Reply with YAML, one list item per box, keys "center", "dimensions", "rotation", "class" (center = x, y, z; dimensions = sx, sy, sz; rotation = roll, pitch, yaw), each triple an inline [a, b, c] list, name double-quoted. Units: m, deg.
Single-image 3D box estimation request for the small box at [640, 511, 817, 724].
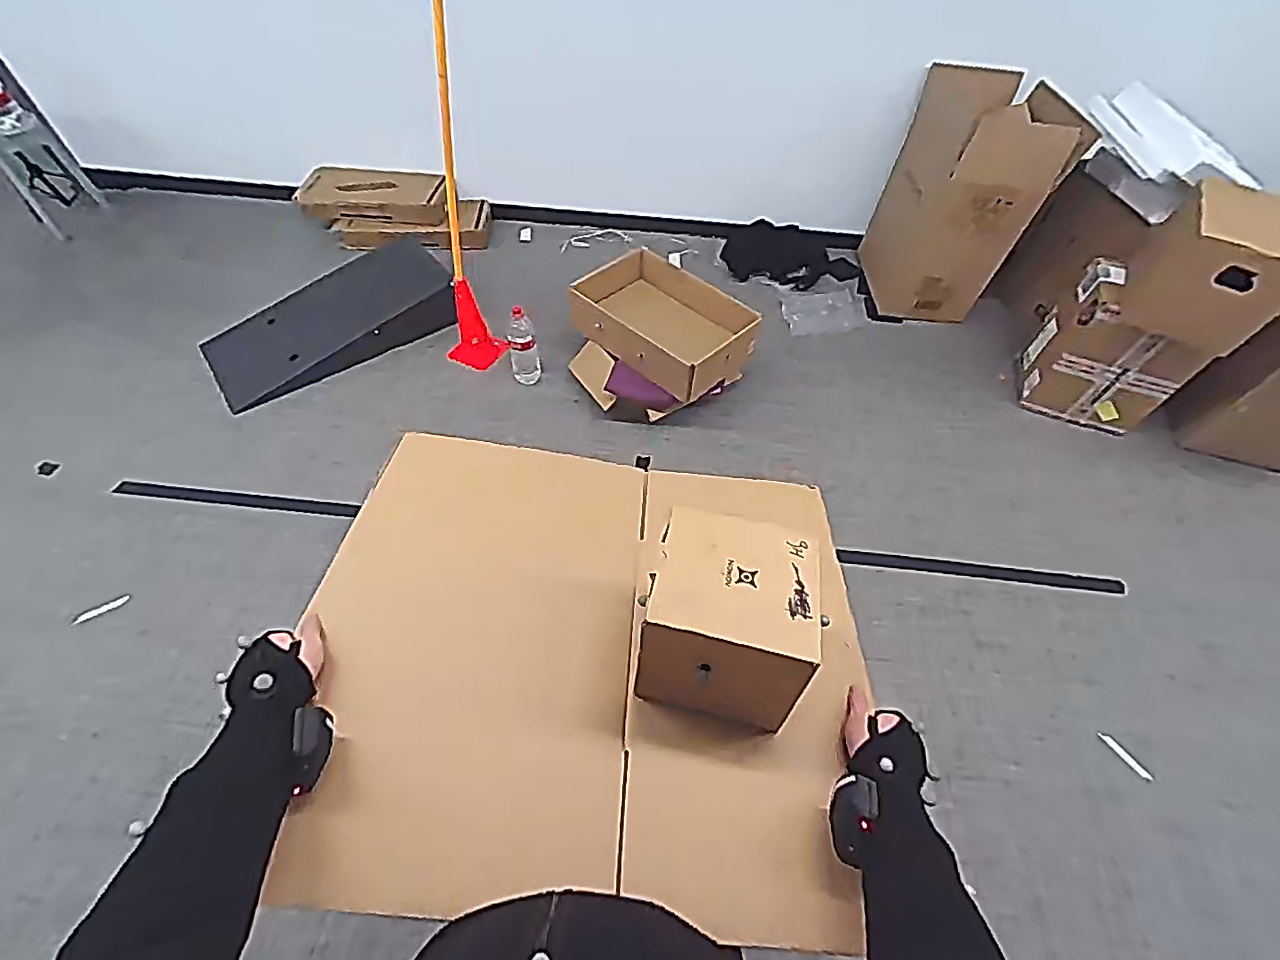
- center: [0.101, 0.164, 0.642]
  dimensions: [0.179, 0.176, 0.168]
  rotation: [11, 45, 7]
  class: "small box"
